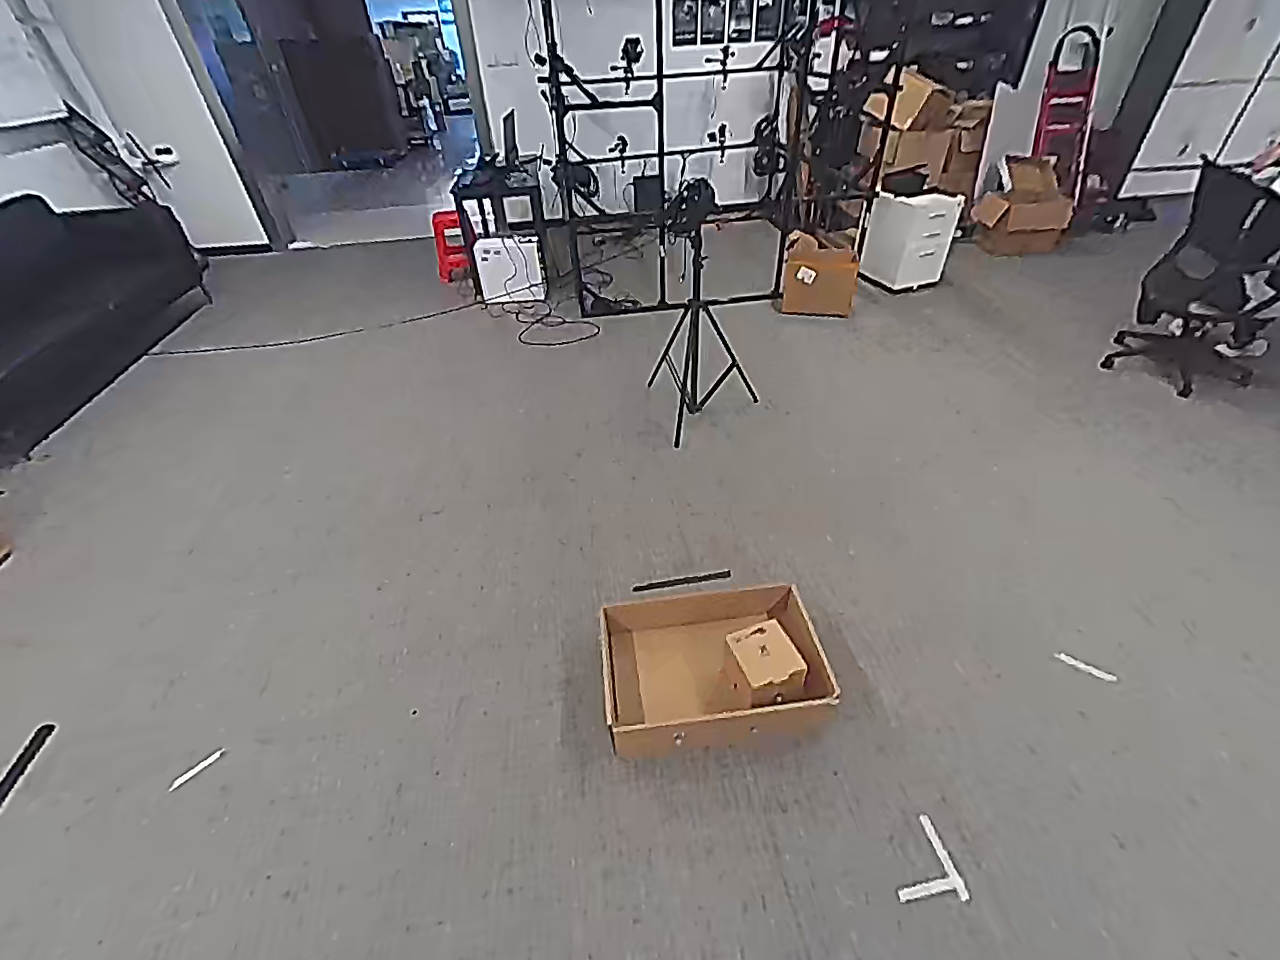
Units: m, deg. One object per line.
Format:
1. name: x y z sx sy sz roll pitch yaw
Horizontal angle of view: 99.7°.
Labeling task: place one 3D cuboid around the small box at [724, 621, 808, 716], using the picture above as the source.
1. small box: 0.349 0.539 1.530 0.168 0.176 0.179 -14 41 -13
